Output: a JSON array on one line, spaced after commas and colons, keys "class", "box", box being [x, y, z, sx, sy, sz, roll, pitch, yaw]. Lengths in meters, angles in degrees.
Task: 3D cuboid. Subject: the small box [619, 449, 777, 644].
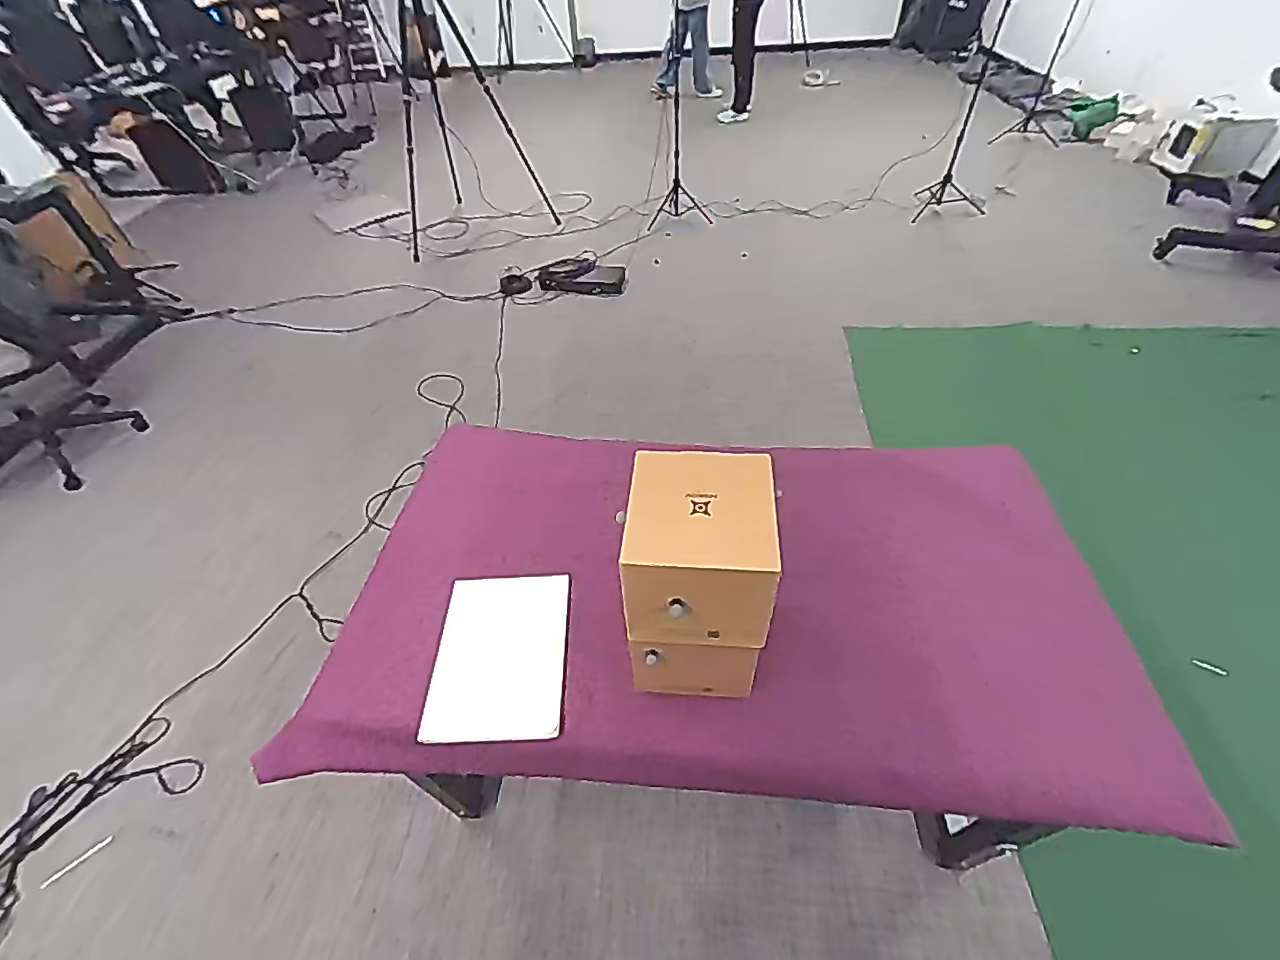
[{"class": "small box", "box": [0.072, 0.083, 0.664, 0.168, 0.176, 0.179, 2, 45, 6]}]
